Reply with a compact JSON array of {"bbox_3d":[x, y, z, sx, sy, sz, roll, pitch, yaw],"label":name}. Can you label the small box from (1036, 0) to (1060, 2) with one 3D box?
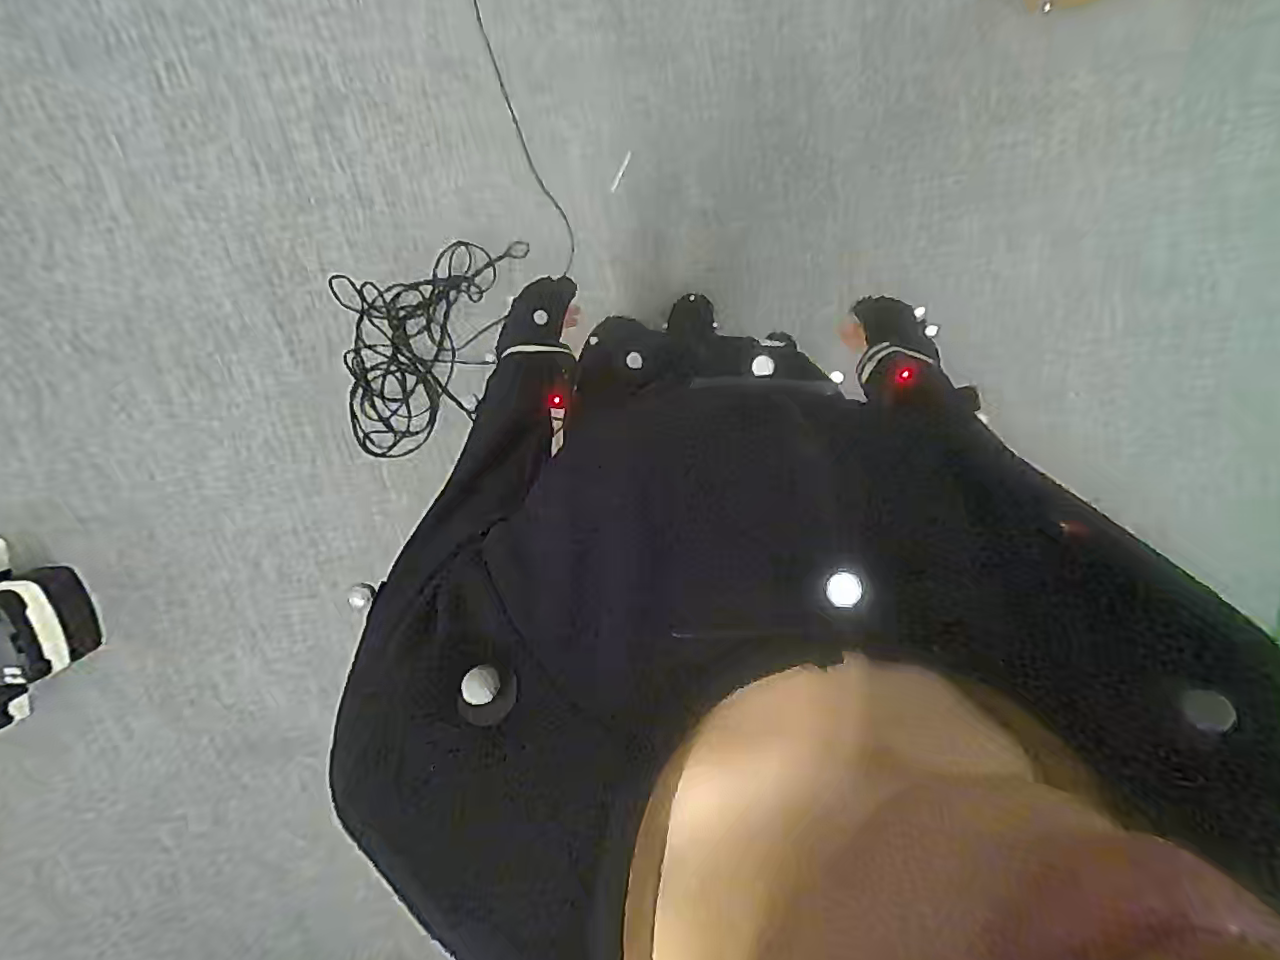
[{"bbox_3d":[0.898,-1.076,1.054,0.168,0.176,0.179,-4,106,2],"label":"small box"}]
